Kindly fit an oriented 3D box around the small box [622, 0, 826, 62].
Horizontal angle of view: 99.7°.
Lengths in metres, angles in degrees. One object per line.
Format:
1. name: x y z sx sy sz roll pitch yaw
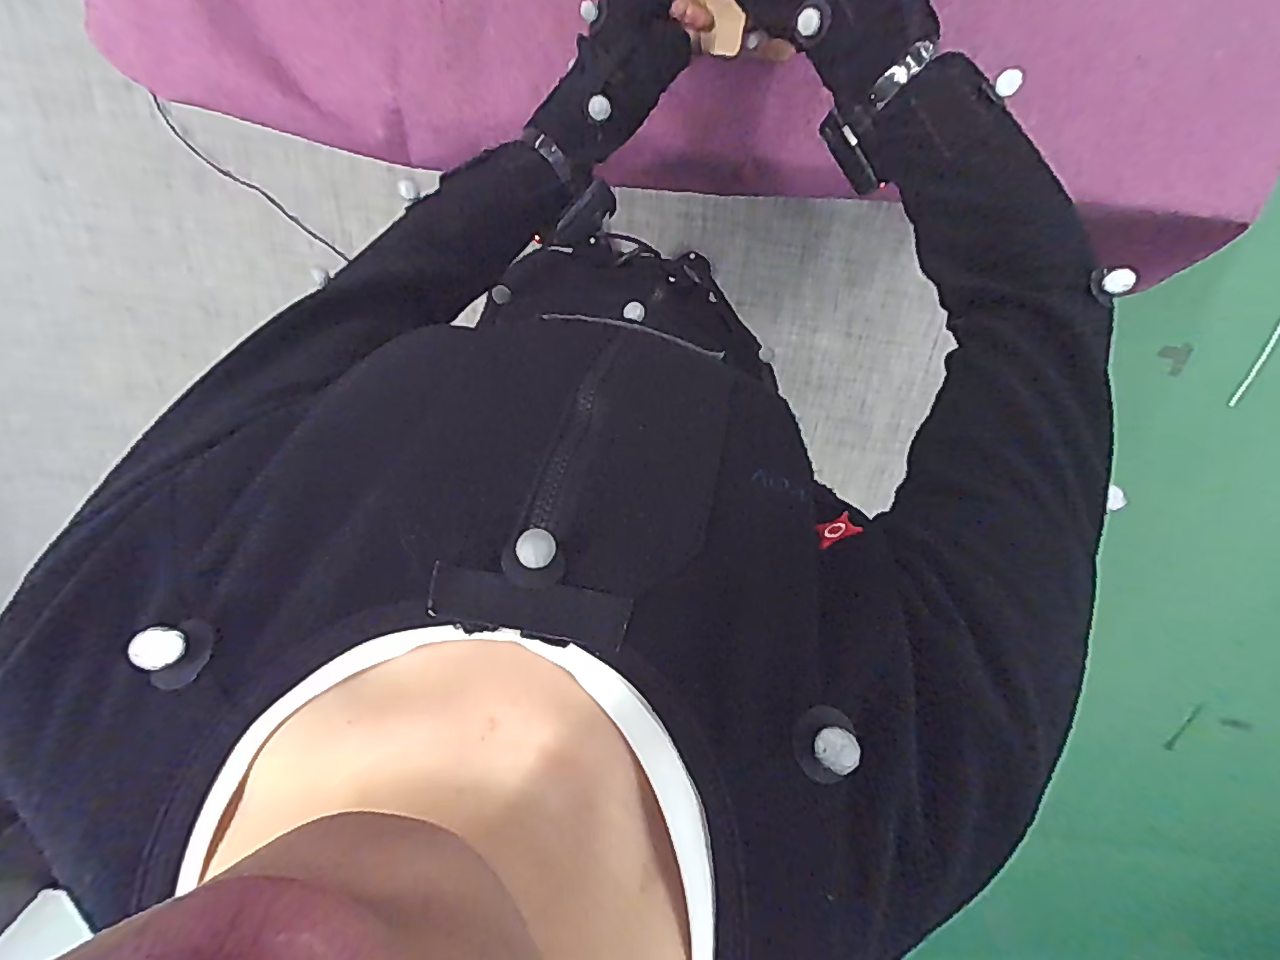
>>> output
1. small box: 0.075 -0.473 0.438 0.168 0.176 0.179 8 114 -1
